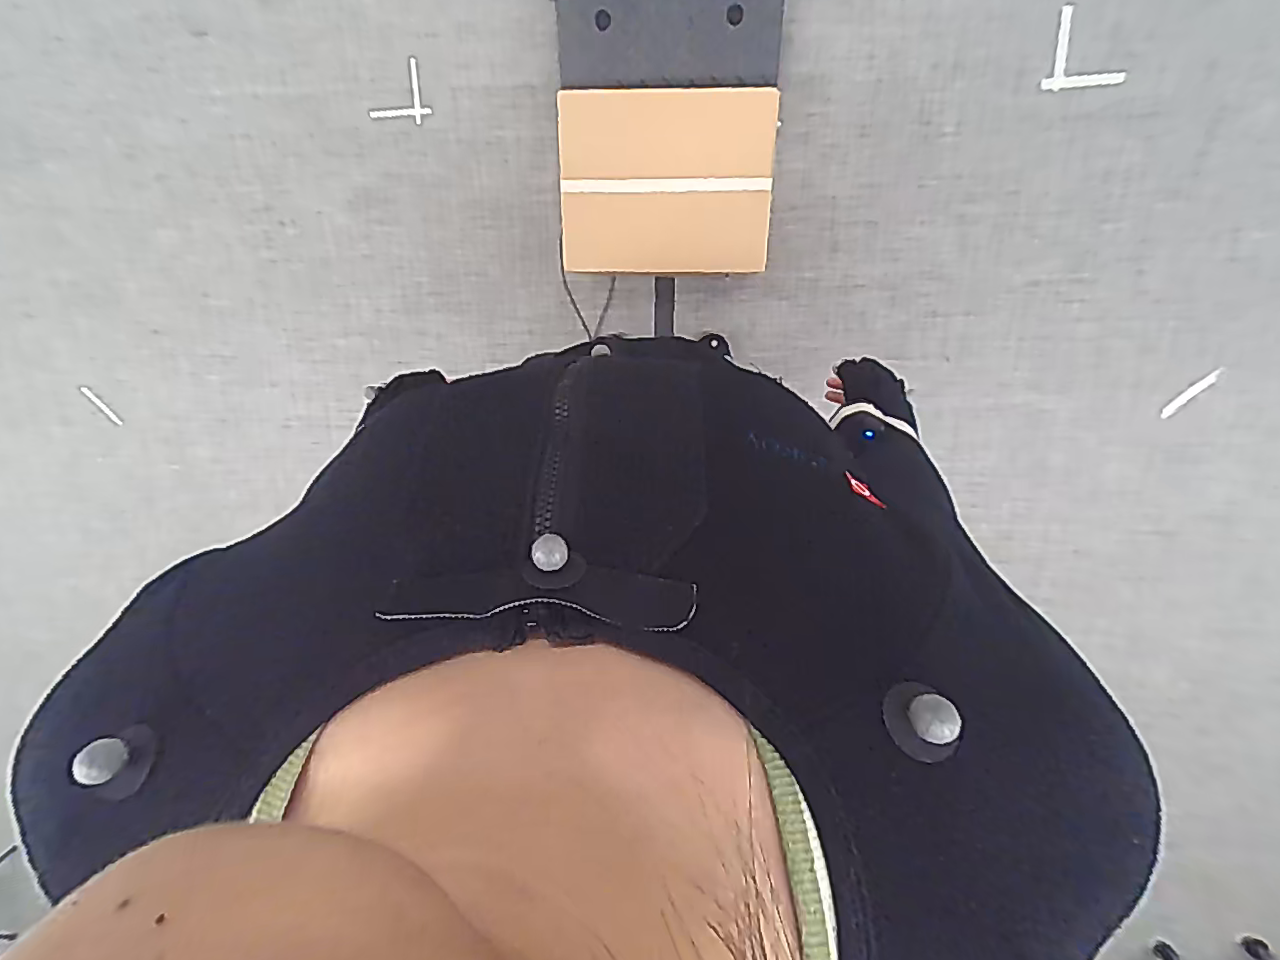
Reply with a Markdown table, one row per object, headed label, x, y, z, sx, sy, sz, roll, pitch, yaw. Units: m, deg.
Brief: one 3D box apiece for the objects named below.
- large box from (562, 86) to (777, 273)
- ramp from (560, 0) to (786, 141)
| label | x | y | z | sx | sy | sz | roll | pitch | yaw |
| --- | --- | --- | --- | --- | --- | --- | --- | --- | --- |
| large box | 0.065 | -0.619 | 1.178 | 0.408 | 0.320 | 0.320 | 2 | 109 | 4 |
| ramp | 0.066 | -1.202 | 1.084 | 0.509 | 0.206 | 0.991 | -1 | 106 | 3 |
